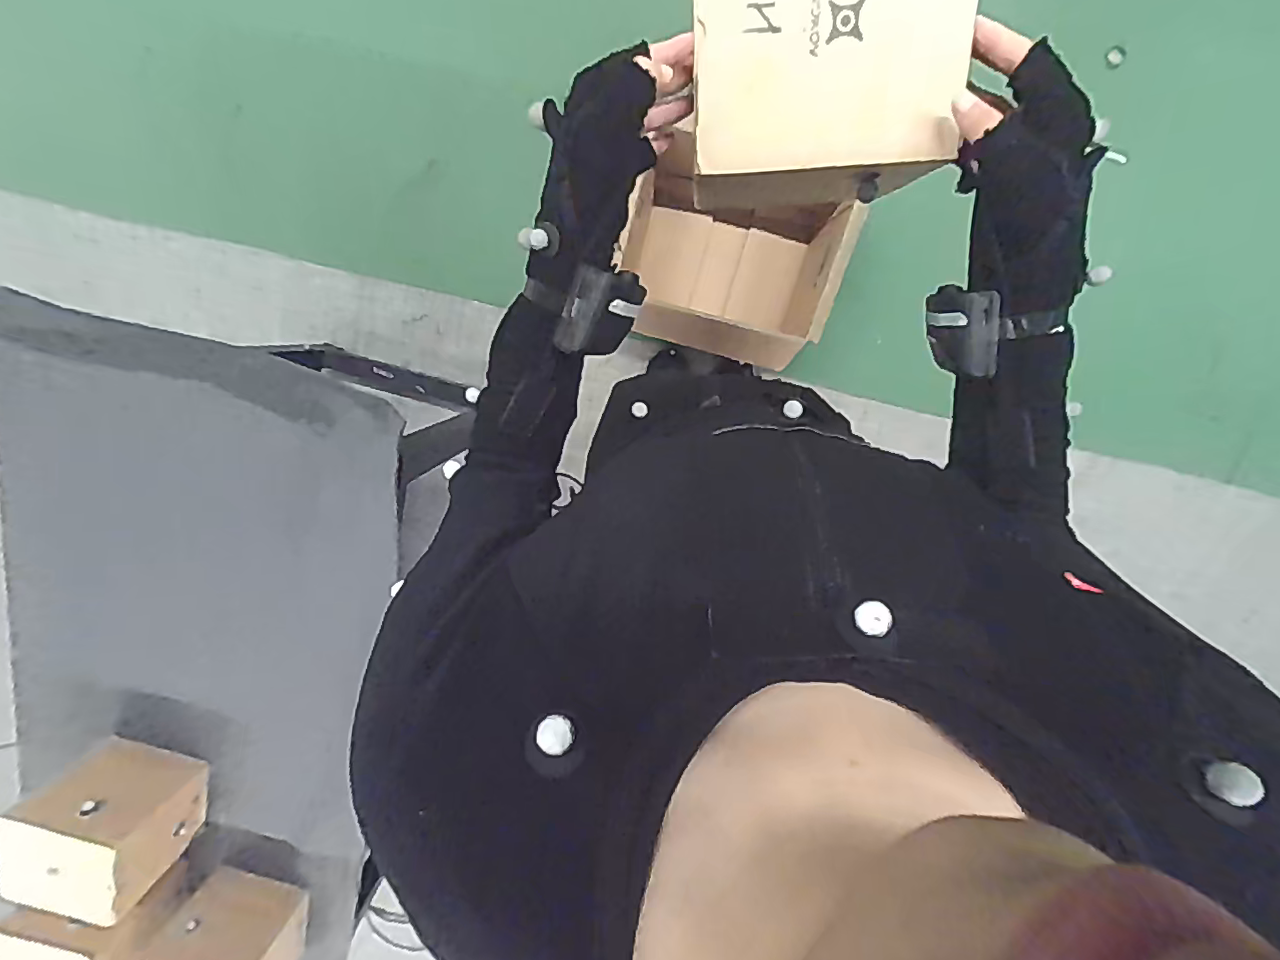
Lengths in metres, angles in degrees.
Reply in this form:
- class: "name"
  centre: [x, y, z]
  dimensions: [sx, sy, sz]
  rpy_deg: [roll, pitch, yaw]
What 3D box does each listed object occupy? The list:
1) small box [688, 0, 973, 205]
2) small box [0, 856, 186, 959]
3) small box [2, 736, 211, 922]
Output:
- class: "small box"
  centre: [0.126, -0.317, 0.416]
  dimensions: [0.179, 0.176, 0.168]
  rpy_deg: [0, 109, 7]
- class: "small box"
  centre: [-0.934, 0.765, 0.935]
  dimensions: [0.179, 0.176, 0.168]
  rpy_deg: [14, 106, 1]
- class: "small box"
  centre: [-0.850, 0.549, 0.873]
  dimensions: [0.179, 0.176, 0.168]
  rpy_deg: [16, 105, -1]
